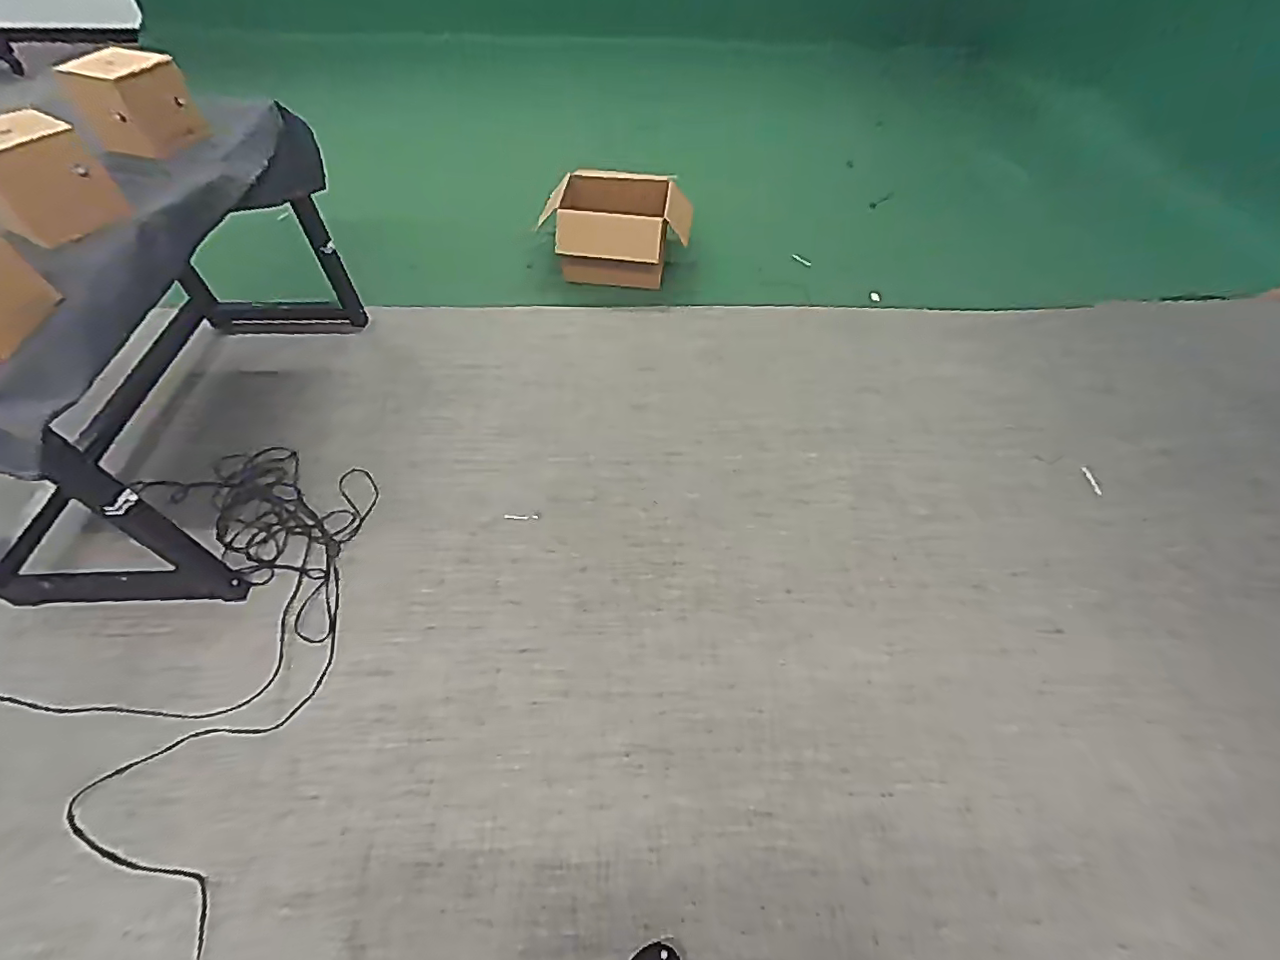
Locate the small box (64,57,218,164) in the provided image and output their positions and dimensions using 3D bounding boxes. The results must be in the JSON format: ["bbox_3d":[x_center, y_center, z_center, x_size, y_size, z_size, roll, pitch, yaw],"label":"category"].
[{"bbox_3d":[-1.186,-0.888,1.305,0.179,0.176,0.168,14,53,11],"label":"small box"}]
